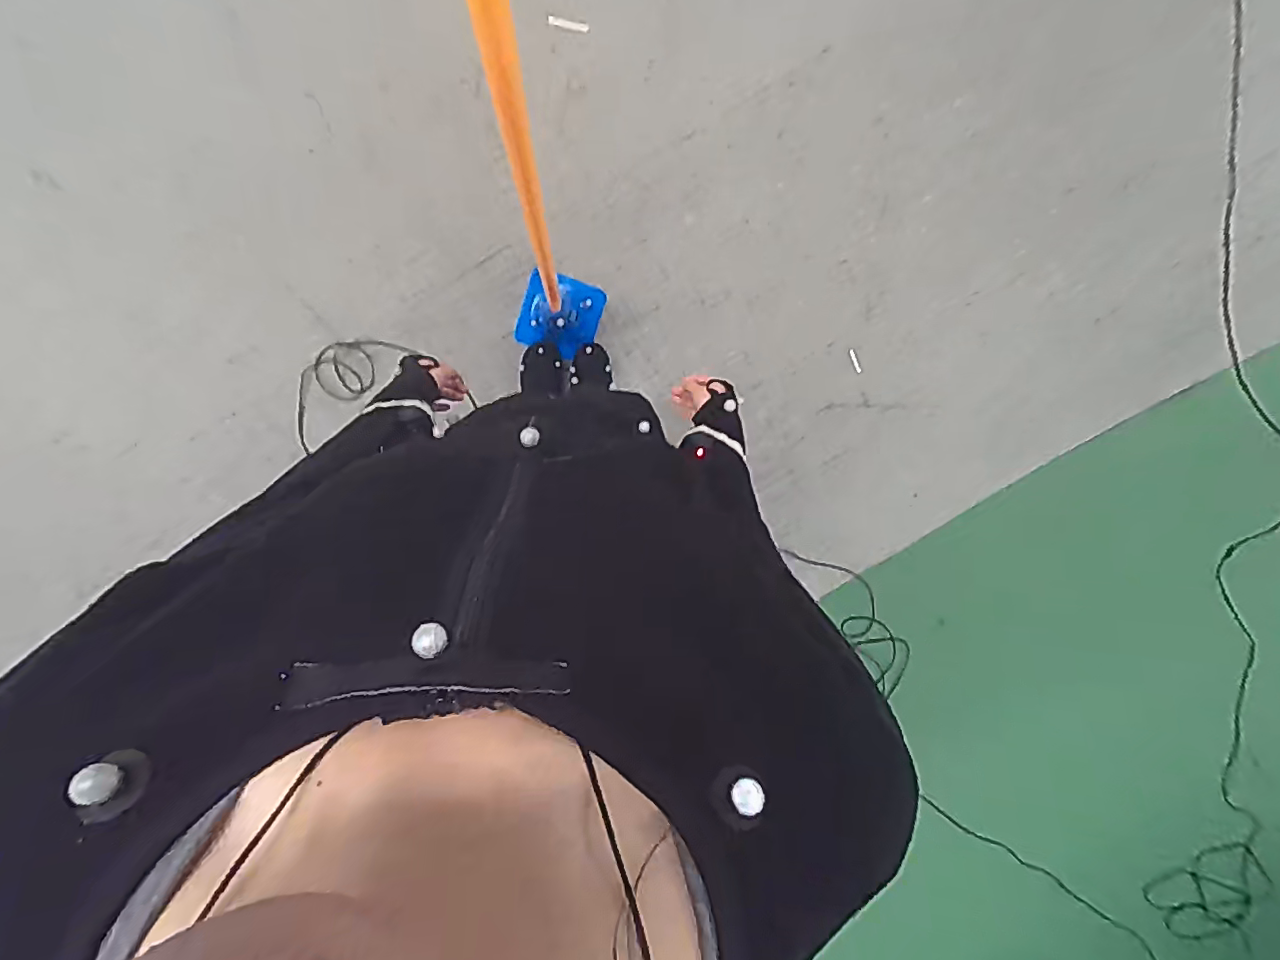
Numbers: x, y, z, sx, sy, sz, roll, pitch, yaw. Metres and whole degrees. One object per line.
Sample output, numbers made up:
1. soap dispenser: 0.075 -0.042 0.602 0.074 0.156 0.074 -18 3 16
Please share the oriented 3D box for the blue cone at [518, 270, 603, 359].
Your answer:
1. blue cone: -0.182 -0.382 1.216 0.192 0.380 0.193 17 100 -11
